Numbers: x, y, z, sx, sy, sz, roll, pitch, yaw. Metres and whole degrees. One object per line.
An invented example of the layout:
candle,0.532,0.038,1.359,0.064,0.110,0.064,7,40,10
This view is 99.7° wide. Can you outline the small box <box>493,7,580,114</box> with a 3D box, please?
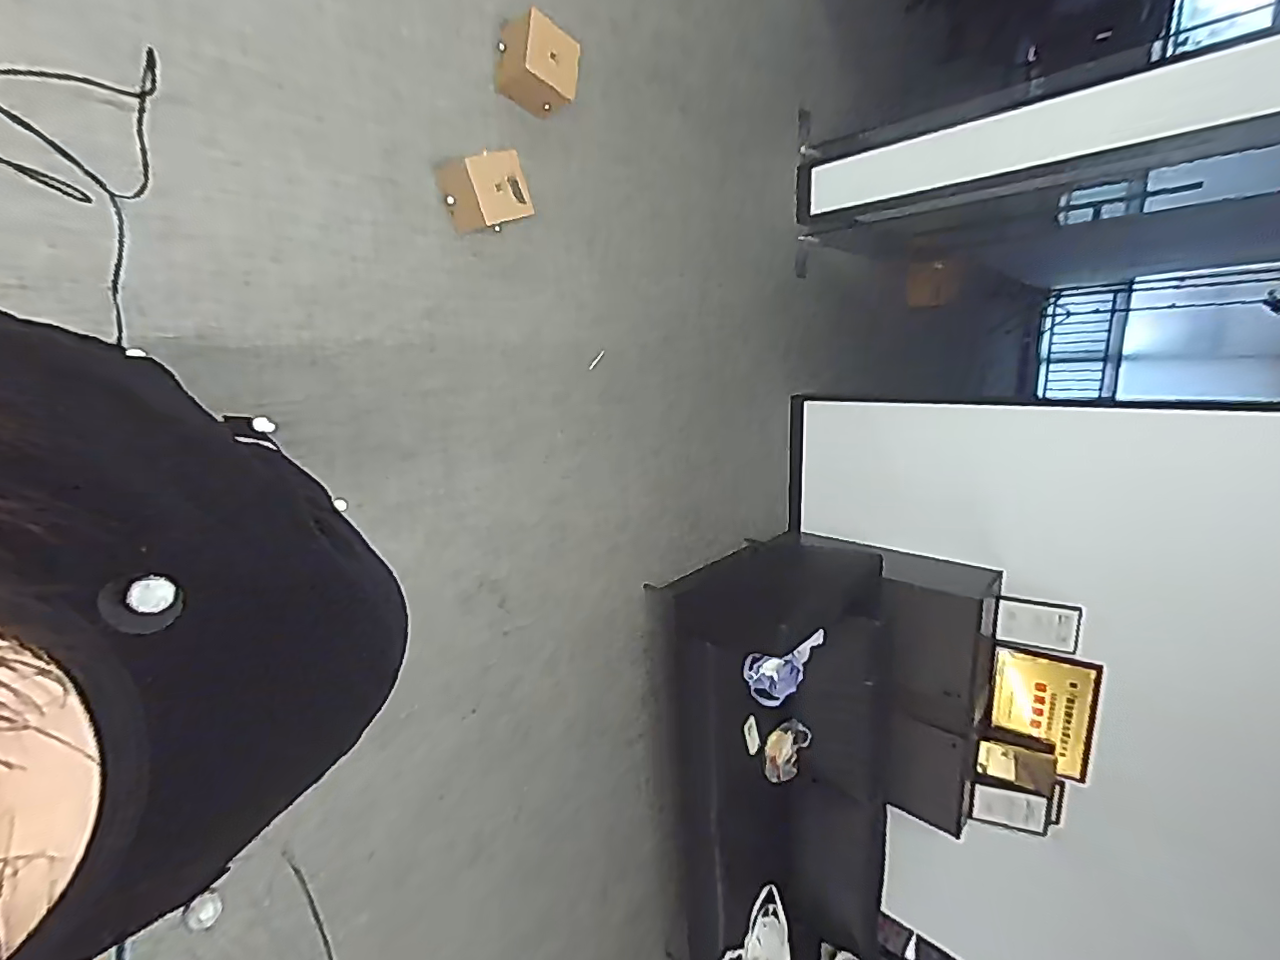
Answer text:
small box,-0.305,-1.219,1.593,0.179,0.176,0.168,4,94,-47
